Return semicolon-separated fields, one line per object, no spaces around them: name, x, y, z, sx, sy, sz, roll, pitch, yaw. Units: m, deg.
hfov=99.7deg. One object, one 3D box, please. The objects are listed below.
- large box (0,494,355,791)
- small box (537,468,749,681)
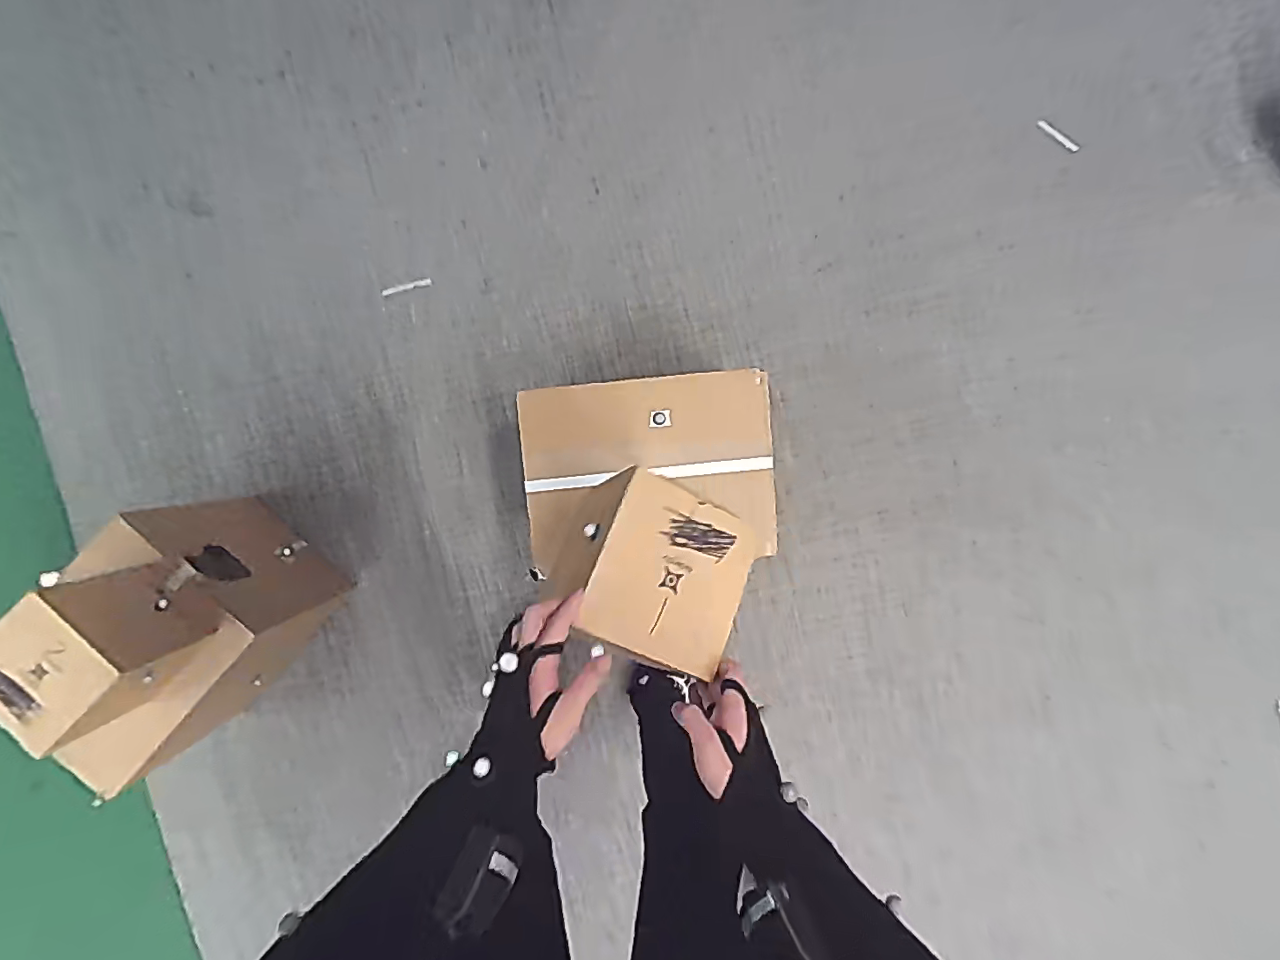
large box;-0.874;0.285;1.070;0.320;0.320;0.408;42;95;-1
small box;-0.004;0.112;0.627;0.168;0.176;0.179;26;69;-16
